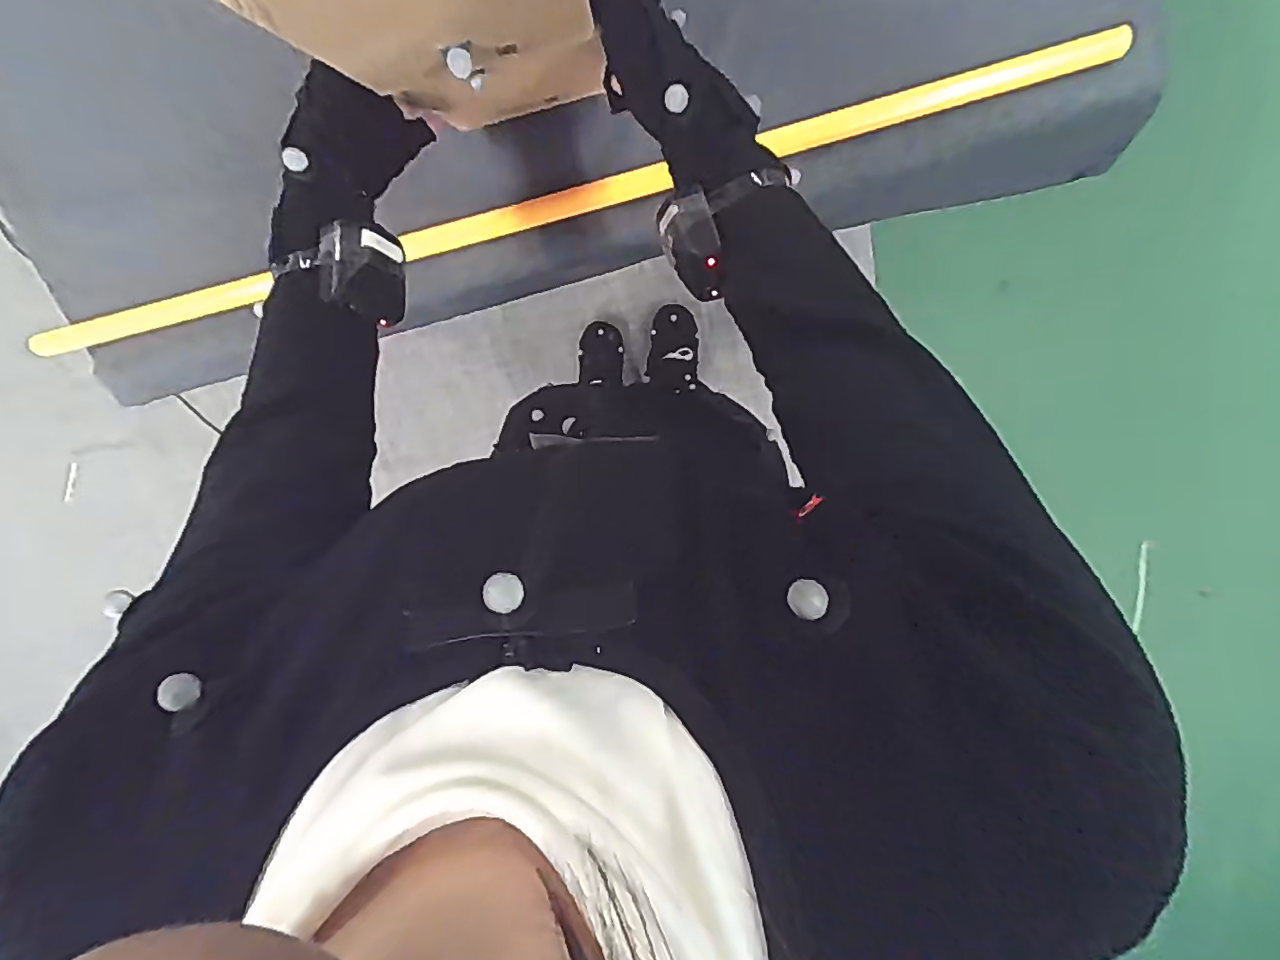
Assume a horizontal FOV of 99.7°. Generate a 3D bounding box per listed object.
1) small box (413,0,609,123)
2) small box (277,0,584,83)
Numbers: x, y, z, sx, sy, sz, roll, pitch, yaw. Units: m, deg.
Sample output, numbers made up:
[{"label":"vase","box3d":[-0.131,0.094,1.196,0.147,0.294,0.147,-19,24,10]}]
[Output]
[{"label":"small box","box3d":[-0.127,-0.422,0.435,0.168,0.176,0.179,-10,111,7]},{"label":"small box","box3d":[-0.135,-0.352,0.285,0.168,0.176,0.179,-10,112,6]}]
